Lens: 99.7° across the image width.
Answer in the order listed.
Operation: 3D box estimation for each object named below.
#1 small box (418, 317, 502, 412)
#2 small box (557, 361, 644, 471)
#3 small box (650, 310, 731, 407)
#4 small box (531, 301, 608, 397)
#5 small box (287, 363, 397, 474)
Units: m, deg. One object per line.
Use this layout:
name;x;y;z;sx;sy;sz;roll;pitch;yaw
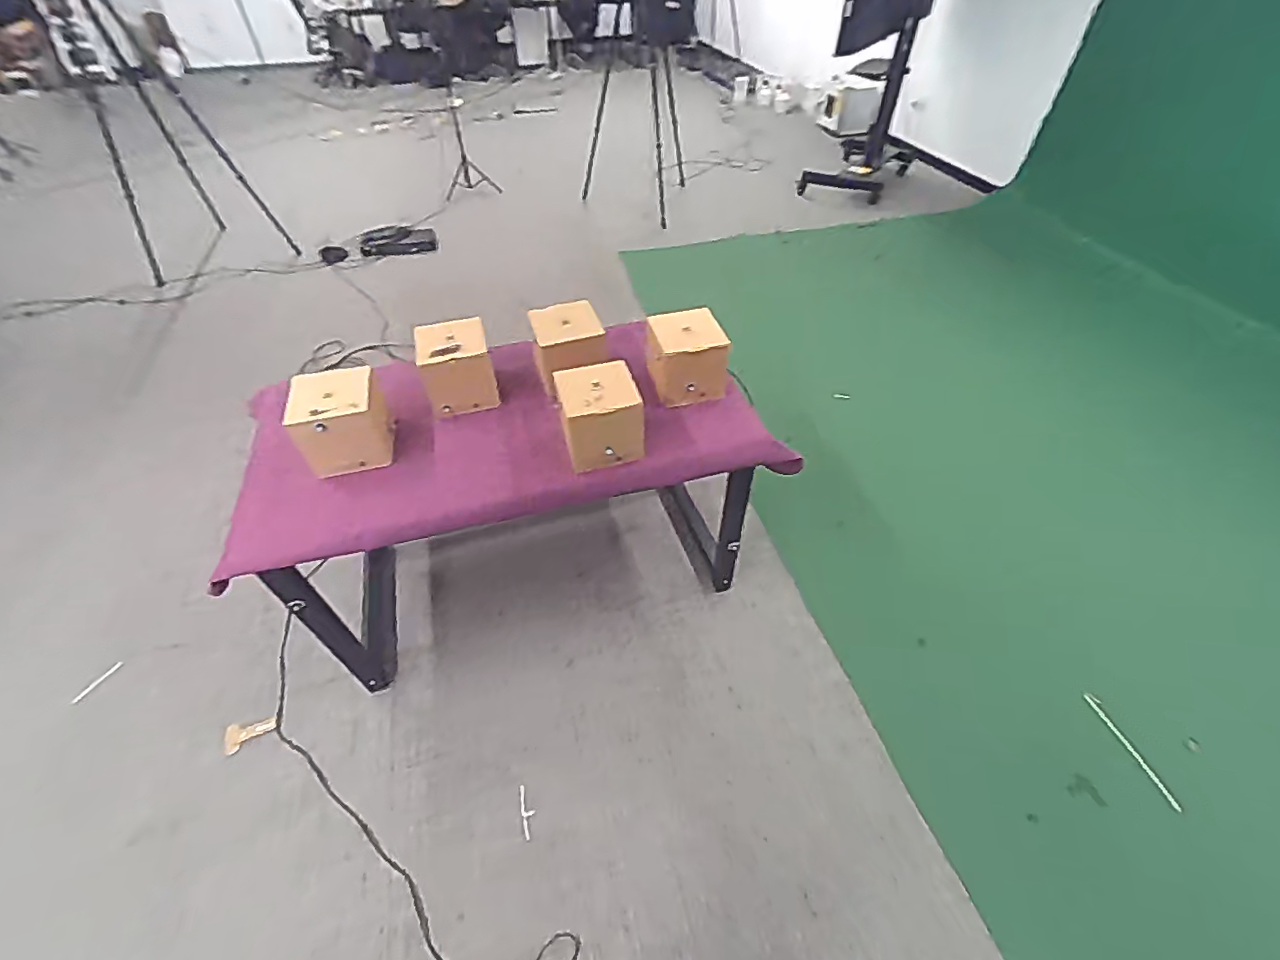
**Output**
small box;-0.458;-0.289;1.385;0.168;0.176;0.179;-13;48;-12
small box;-0.090;-0.148;1.250;0.168;0.176;0.179;-12;47;-10
small box;0.123;-0.316;1.406;0.168;0.176;0.179;-11;49;-9
small box;-0.186;-0.349;1.439;0.168;0.176;0.179;-14;49;-11
small box;-0.673;-0.141;1.246;0.168;0.176;0.179;-13;48;-10
